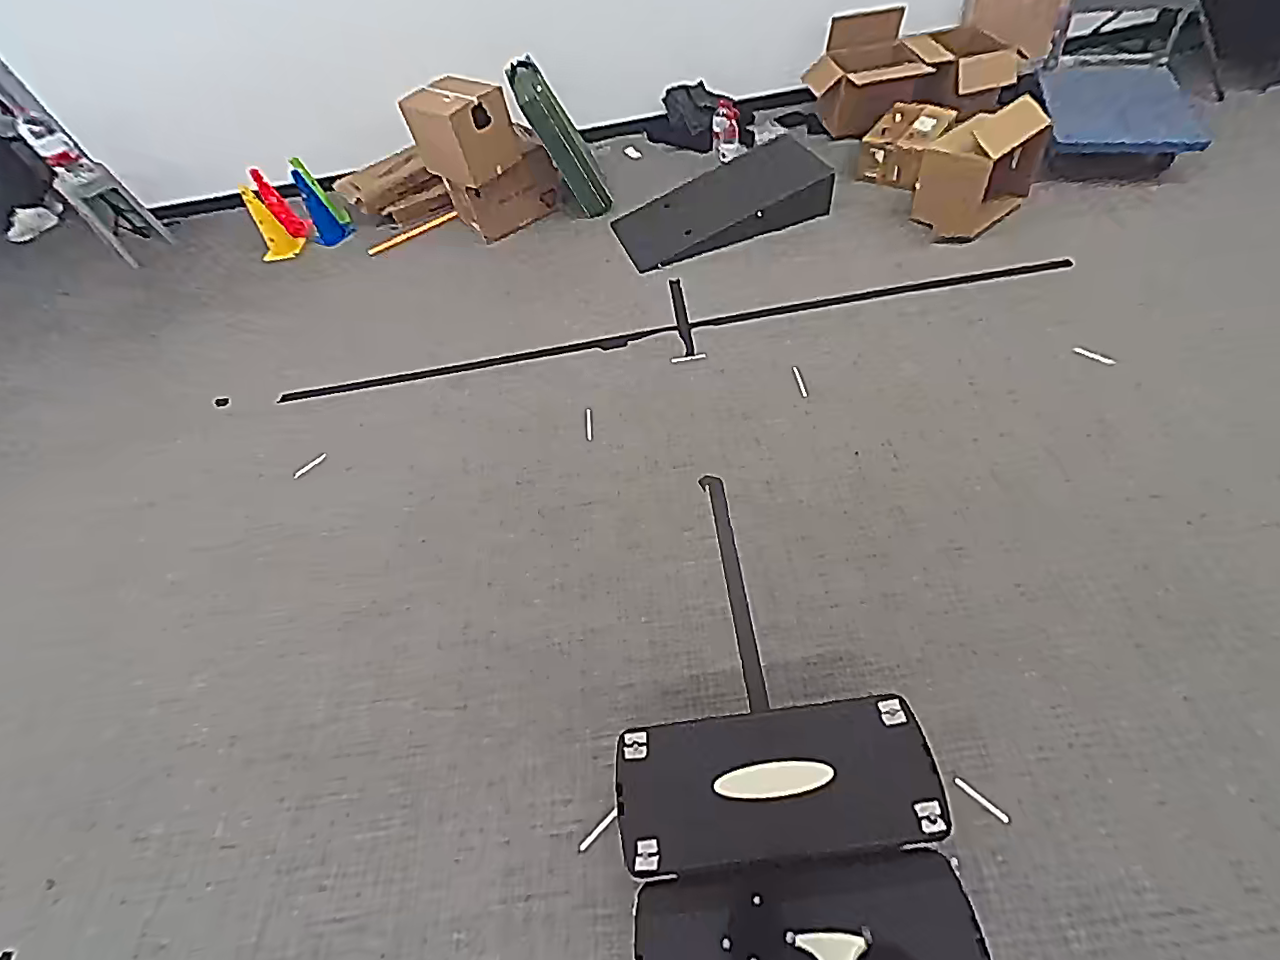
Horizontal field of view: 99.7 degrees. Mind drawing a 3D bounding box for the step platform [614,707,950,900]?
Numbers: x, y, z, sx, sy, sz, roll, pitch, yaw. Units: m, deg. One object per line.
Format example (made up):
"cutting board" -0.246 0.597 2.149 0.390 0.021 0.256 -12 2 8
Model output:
"step platform" 0.282 0.700 1.183 0.684 0.204 0.286 -9 54 1
